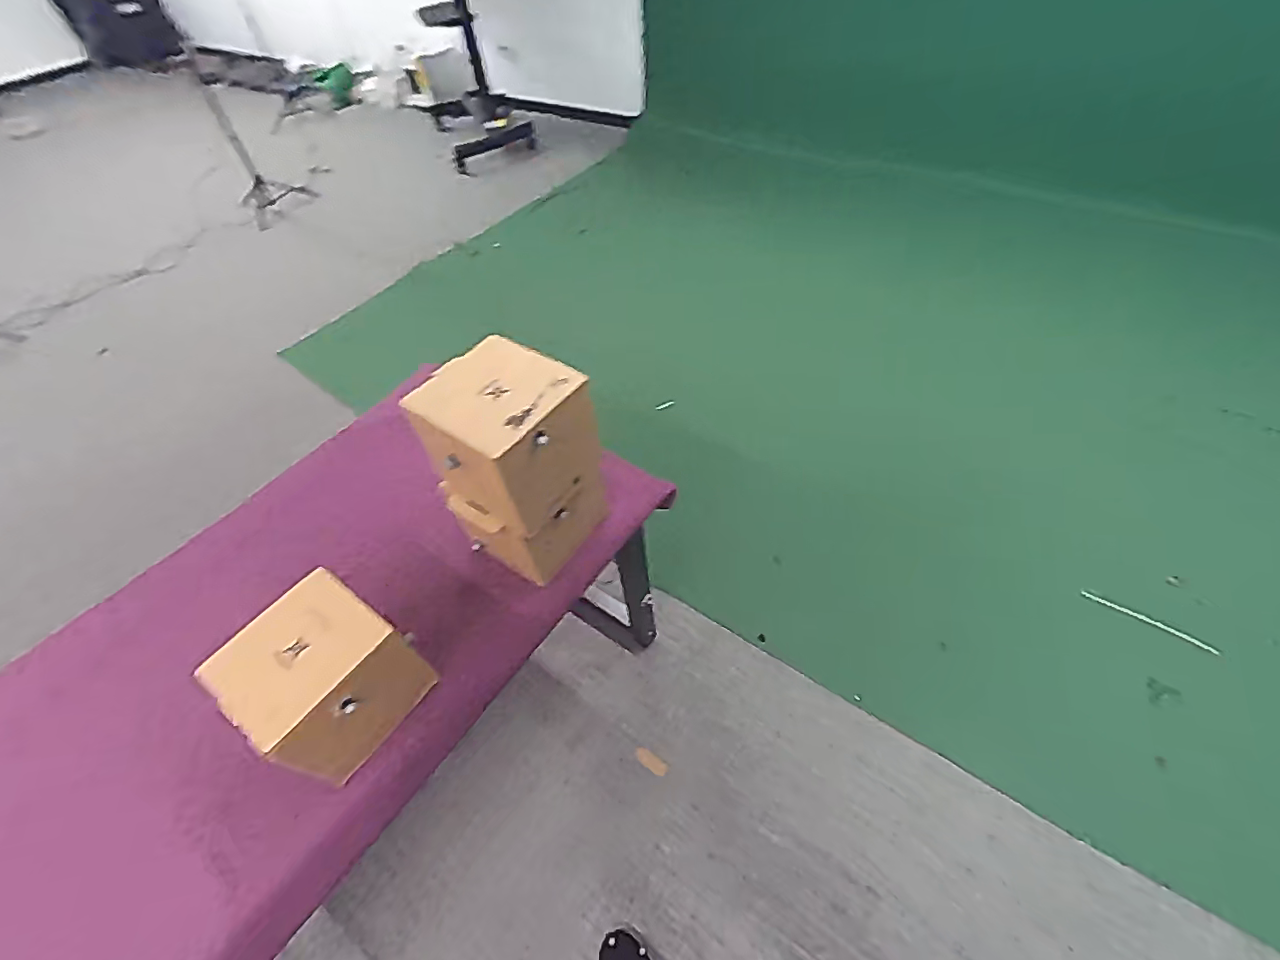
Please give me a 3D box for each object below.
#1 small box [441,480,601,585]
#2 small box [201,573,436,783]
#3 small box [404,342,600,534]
[{"bbox_3d":[-0.178,0.040,0.877,0.168,0.176,0.179,26,58,23],"label":"small box"},{"bbox_3d":[-0.409,0.265,0.717,0.168,0.176,0.179,27,58,26],"label":"small box"},{"bbox_3d":[-0.177,-0.055,0.742,0.179,0.176,0.168,27,59,25],"label":"small box"}]
